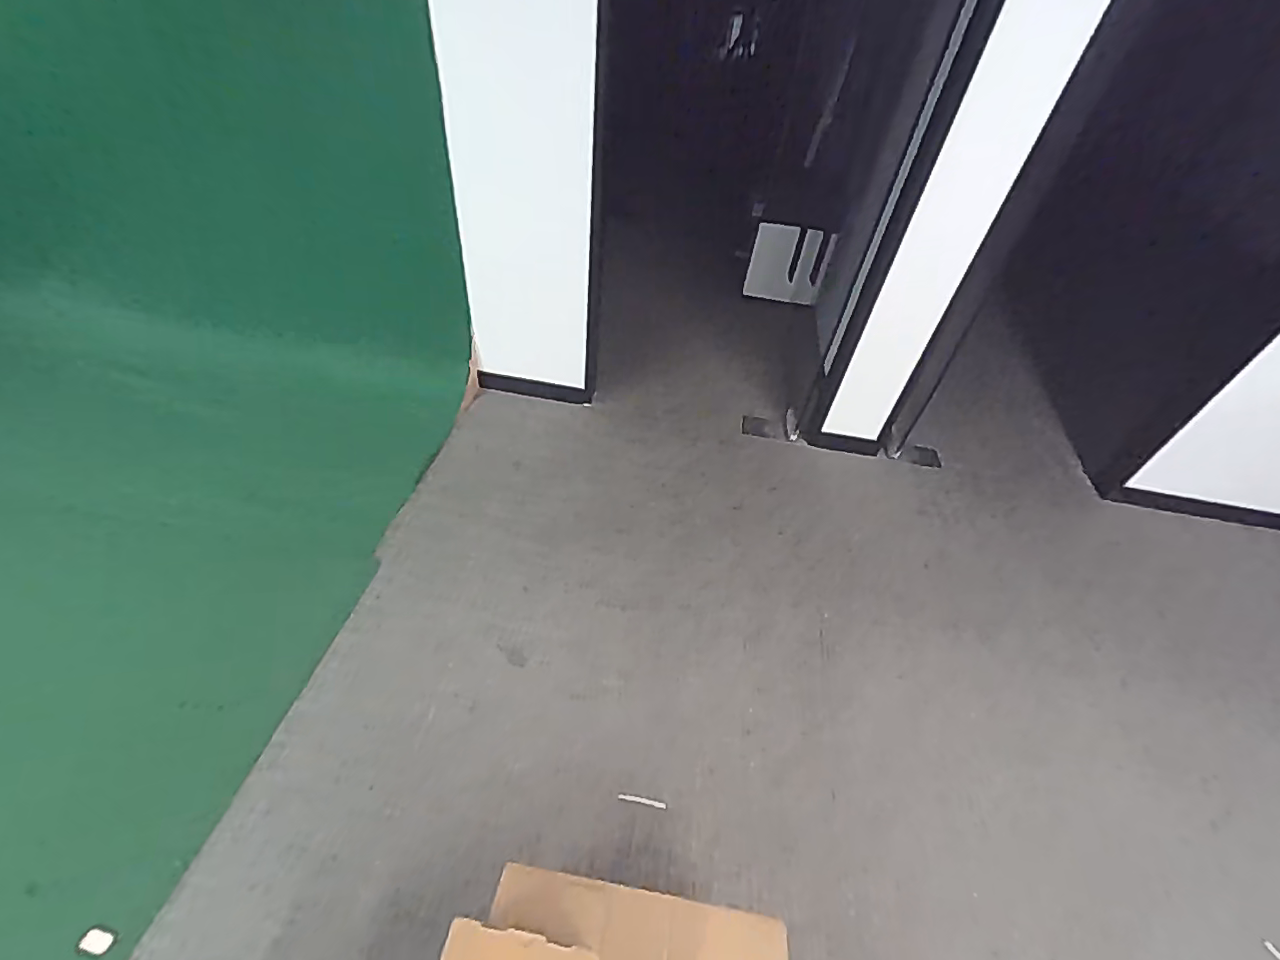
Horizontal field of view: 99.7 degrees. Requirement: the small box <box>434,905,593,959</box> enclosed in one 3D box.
[{"bbox_3d":[-0.153,0.601,0.592,0.168,0.176,0.179,13,46,2],"label":"small box"}]
